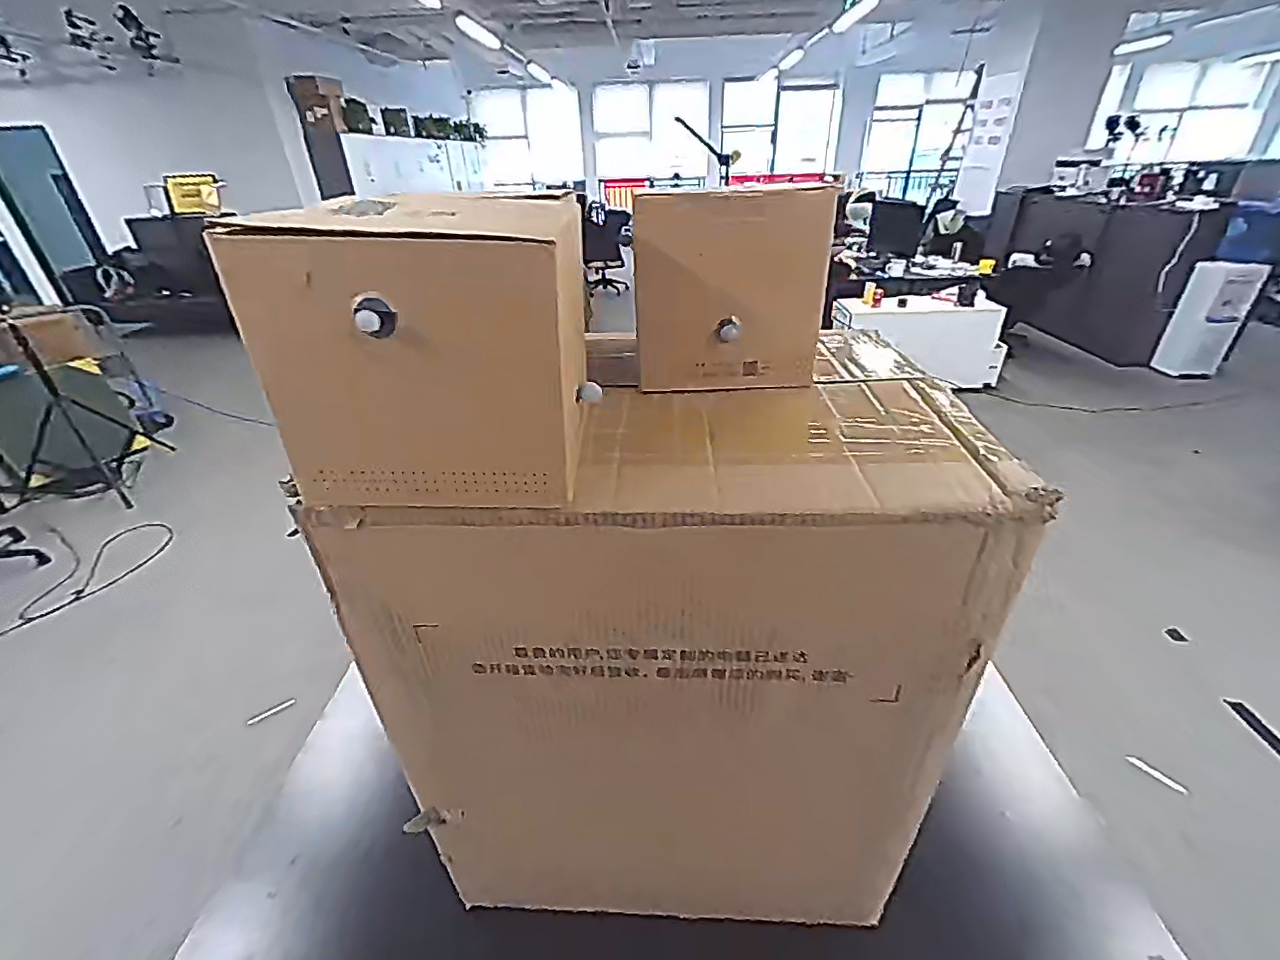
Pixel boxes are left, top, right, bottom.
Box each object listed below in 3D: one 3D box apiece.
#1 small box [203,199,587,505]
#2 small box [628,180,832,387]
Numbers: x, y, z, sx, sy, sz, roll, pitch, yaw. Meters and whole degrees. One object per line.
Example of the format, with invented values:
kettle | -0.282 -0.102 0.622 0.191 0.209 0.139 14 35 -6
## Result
small box | -0.132 -0.094 0.375 0.179 0.176 0.168 1 32 -1
small box | 0.075 -0.199 0.540 0.168 0.176 0.179 -3 29 1
